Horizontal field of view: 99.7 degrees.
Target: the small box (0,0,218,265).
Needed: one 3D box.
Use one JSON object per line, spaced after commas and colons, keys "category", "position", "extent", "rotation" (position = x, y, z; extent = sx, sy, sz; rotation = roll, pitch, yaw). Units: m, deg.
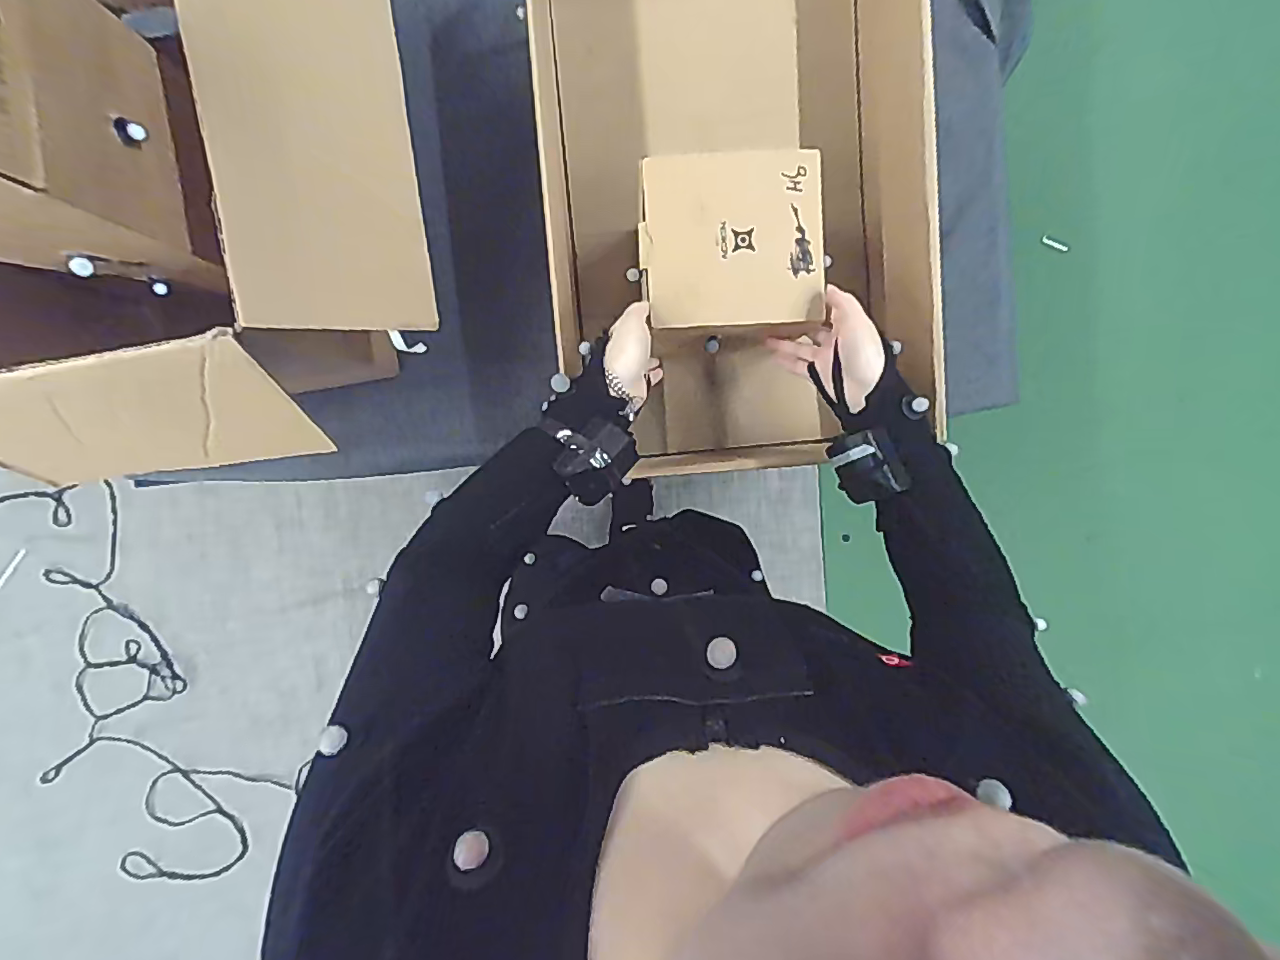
{"category": "small box", "position": [-0.497, -0.293, 0.445], "extent": [0.168, 0.176, 0.179], "rotation": [-3, 97, -2]}
